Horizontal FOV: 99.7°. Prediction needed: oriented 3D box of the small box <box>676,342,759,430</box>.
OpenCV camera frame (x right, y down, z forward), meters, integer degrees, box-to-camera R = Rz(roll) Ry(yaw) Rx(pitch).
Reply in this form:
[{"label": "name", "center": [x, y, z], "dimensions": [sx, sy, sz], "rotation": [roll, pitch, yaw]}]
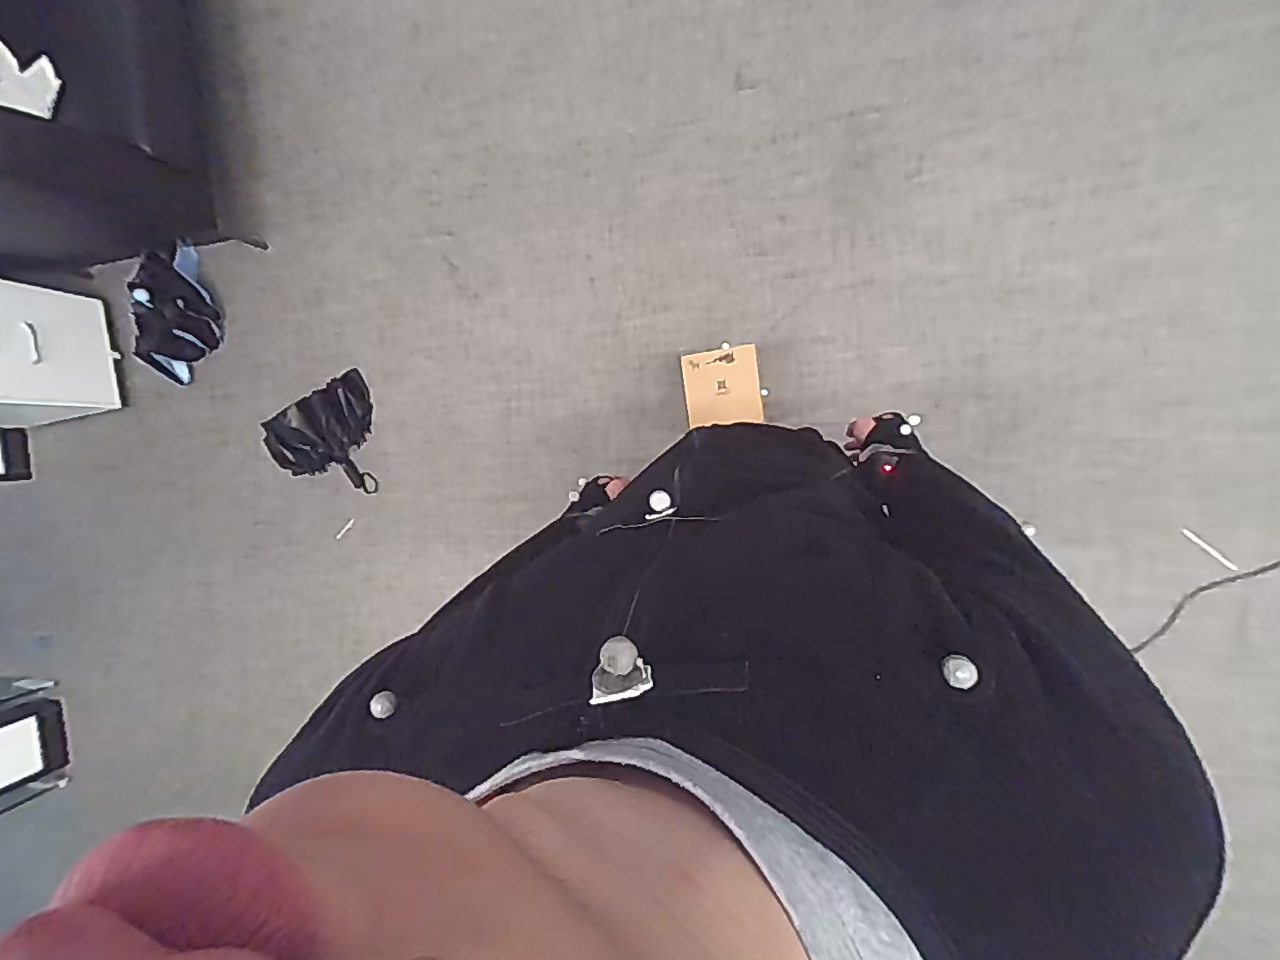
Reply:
[{"label": "small box", "center": [0.189, -0.216, 1.280], "dimensions": [0.168, 0.176, 0.179], "rotation": [-7, 94, 14]}]
